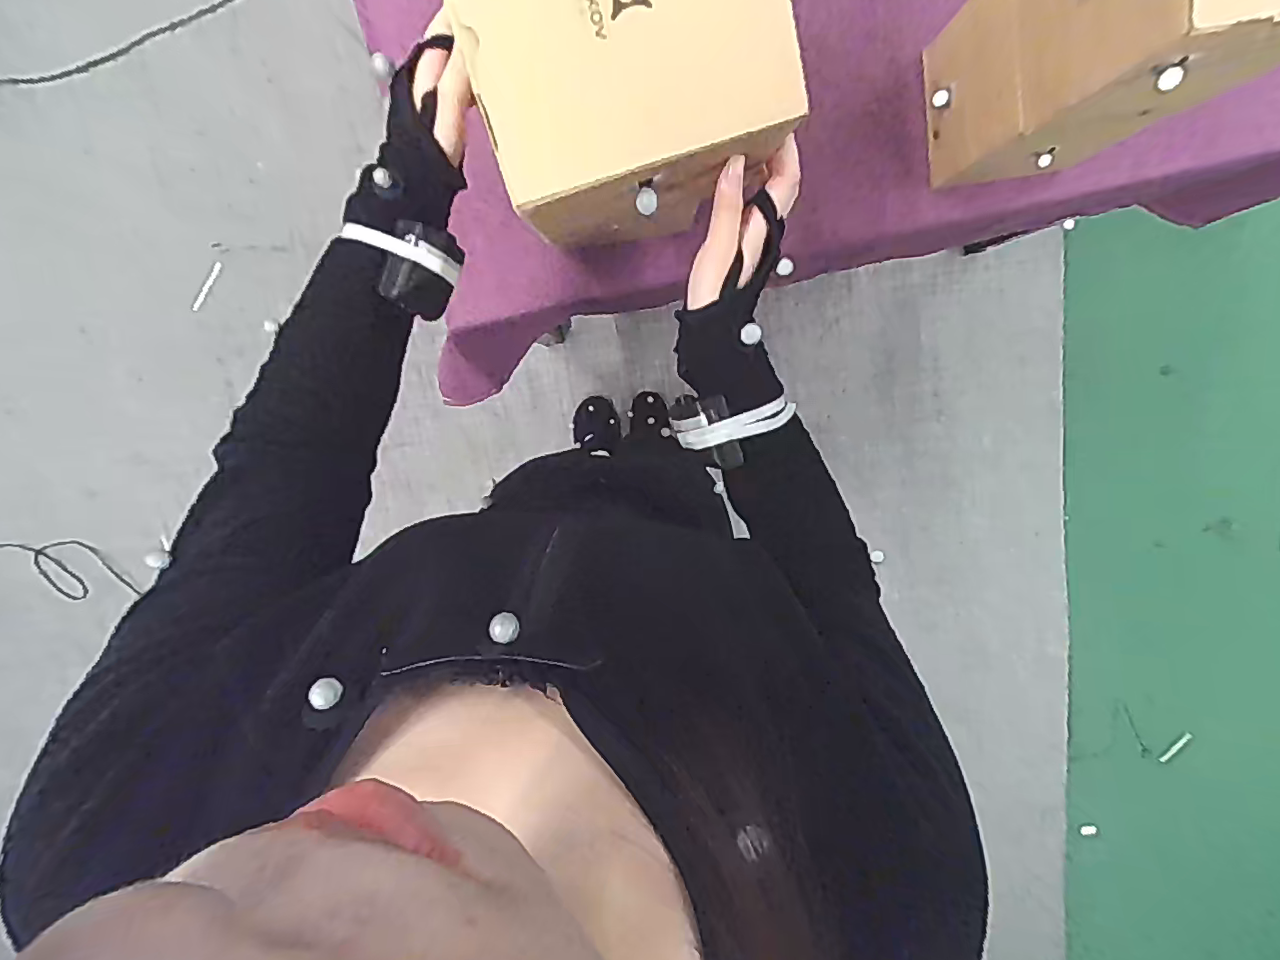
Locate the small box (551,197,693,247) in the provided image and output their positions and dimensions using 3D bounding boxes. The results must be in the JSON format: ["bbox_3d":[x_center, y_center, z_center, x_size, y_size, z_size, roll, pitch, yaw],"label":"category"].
[{"bbox_3d":[-0.032,-0.375,0.607,0.179,0.176,0.168,-8,100,1],"label":"small box"}]

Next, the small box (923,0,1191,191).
[{"bbox_3d":[0.449,-0.448,0.604,0.179,0.176,0.168,-9,100,1],"label":"small box"}]

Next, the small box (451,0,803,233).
[{"bbox_3d":[-0.013,-0.281,0.360,0.179,0.176,0.168,-15,106,5],"label":"small box"}]
